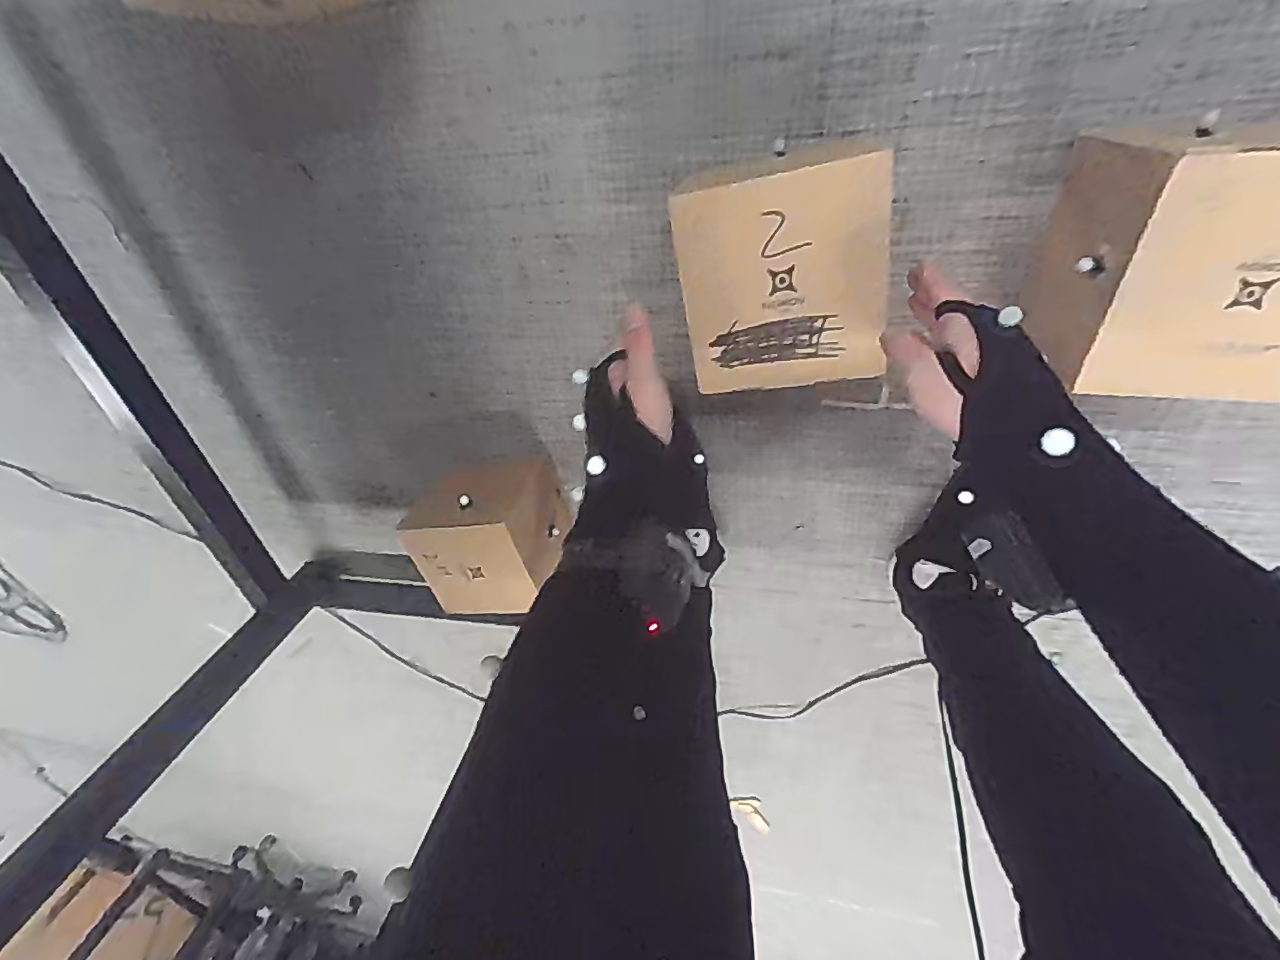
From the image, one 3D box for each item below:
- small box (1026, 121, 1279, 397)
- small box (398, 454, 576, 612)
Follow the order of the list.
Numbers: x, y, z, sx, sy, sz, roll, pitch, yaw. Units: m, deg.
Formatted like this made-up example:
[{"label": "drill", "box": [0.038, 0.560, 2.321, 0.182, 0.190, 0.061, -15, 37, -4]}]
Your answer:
[{"label": "small box", "box": [0.451, -0.183, 0.435, 0.168, 0.176, 0.179, 6, 126, 12]}, {"label": "small box", "box": [-0.207, 0.074, 0.796, 0.179, 0.176, 0.168, -5, 123, 18]}]
